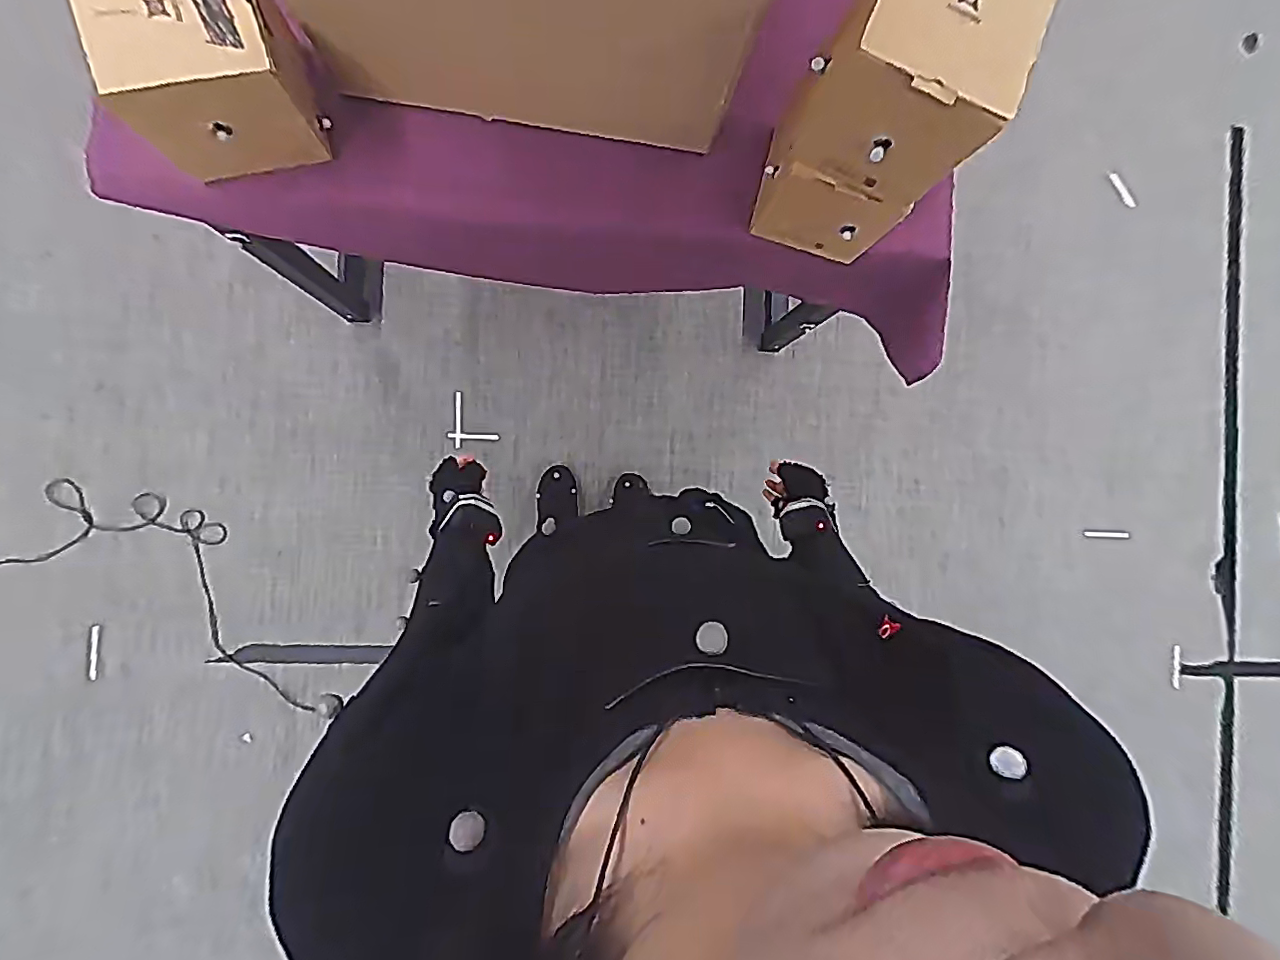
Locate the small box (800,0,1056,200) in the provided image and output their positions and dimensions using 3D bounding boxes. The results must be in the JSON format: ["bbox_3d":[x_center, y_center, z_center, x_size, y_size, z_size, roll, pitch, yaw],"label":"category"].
[{"bbox_3d":[0.296,-0.445,0.586,0.168,0.176,0.179,22,88,-6],"label":"small box"}]

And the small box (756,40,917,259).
[{"bbox_3d":[0.274,-0.437,0.748,0.168,0.176,0.179,14,86,-7],"label":"small box"}]
